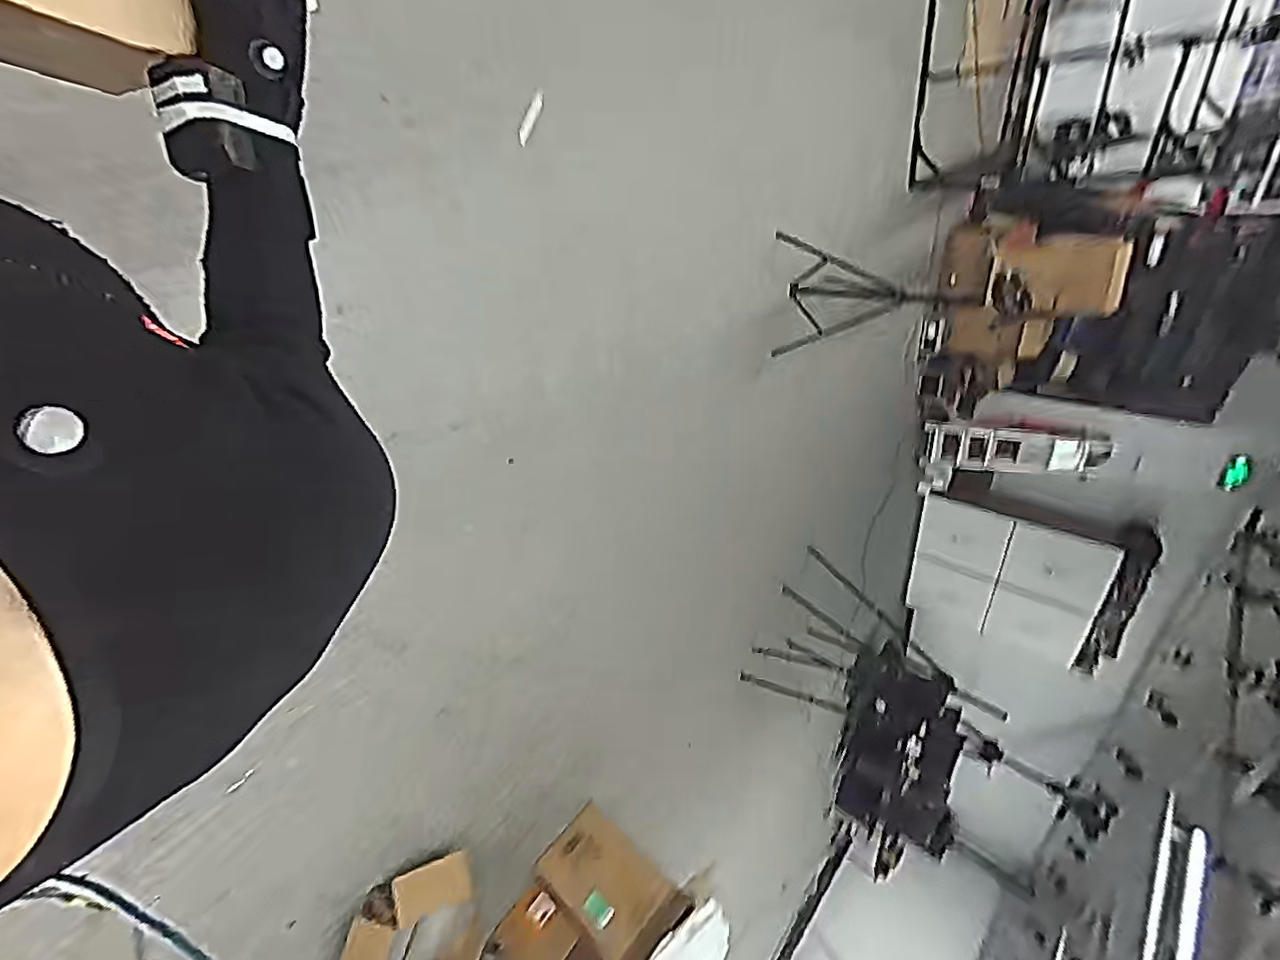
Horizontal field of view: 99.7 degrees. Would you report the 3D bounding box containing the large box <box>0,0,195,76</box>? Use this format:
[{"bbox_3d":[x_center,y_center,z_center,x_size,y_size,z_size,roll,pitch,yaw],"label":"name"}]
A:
[{"bbox_3d":[-0.539,-0.472,0.275,0.408,0.320,0.320,-14,121,-50],"label":"large box"}]
